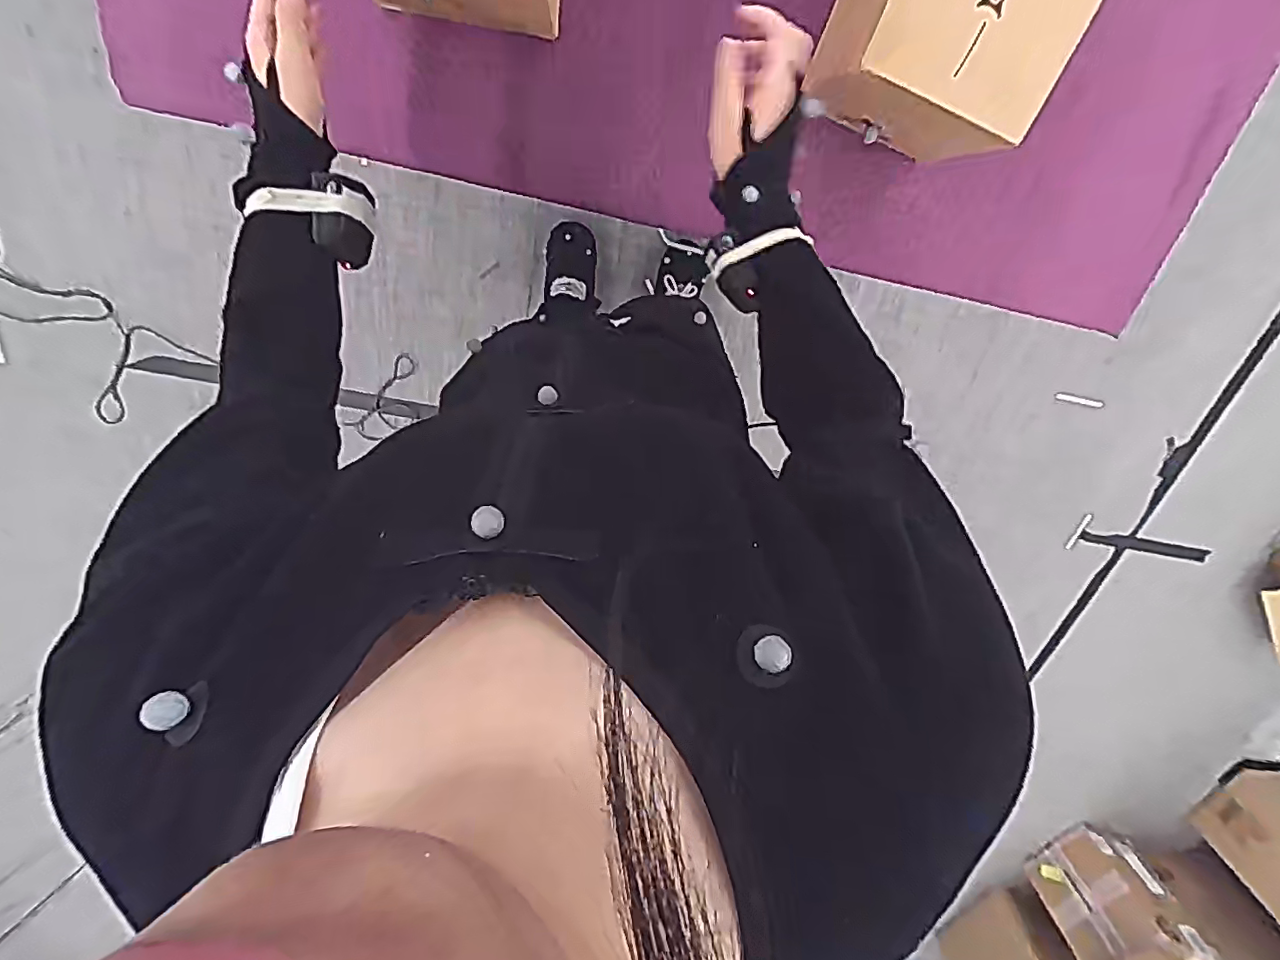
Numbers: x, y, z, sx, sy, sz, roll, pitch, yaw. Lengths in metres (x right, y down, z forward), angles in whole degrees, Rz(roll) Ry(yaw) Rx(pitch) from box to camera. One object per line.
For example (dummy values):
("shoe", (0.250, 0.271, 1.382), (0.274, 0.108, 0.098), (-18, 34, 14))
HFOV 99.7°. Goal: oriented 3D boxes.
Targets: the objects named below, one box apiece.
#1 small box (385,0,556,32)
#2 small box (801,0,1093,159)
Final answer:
("small box", (-0.153, -0.495, 0.436), (0.179, 0.176, 0.168), (6, 116, -7))
("small box", (0.275, -0.426, 0.501), (0.168, 0.176, 0.179), (17, 115, -12))
